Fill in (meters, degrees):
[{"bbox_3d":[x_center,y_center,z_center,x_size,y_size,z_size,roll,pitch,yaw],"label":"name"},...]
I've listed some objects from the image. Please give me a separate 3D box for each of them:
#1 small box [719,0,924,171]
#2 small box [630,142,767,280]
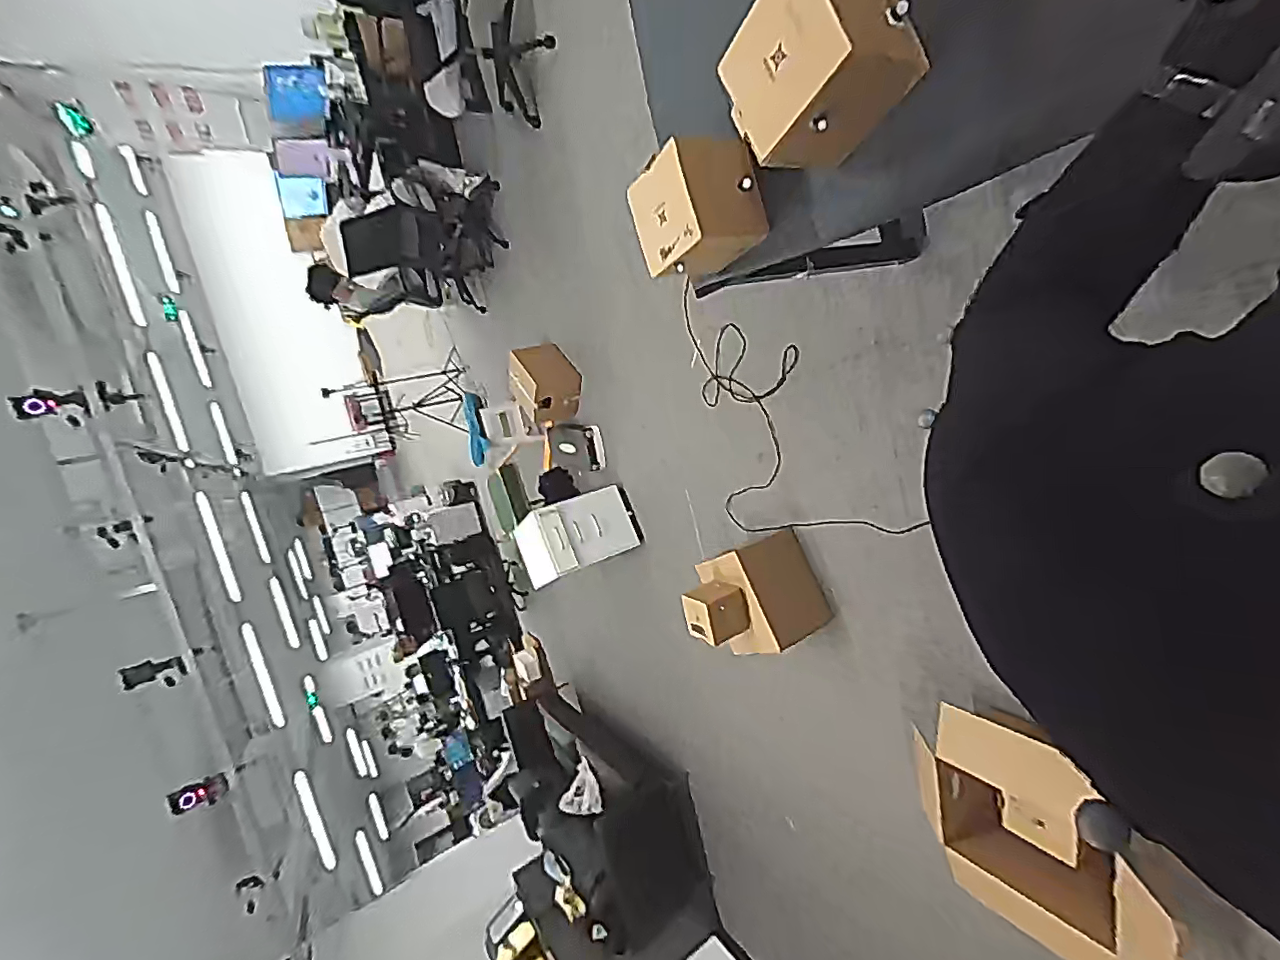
[{"bbox_3d":[0.248,-0.561,0.753,0.179,0.176,0.168,-33,76,58],"label":"small box"},{"bbox_3d":[0.110,-0.494,1.014,0.168,0.176,0.179,-12,94,60],"label":"small box"}]
